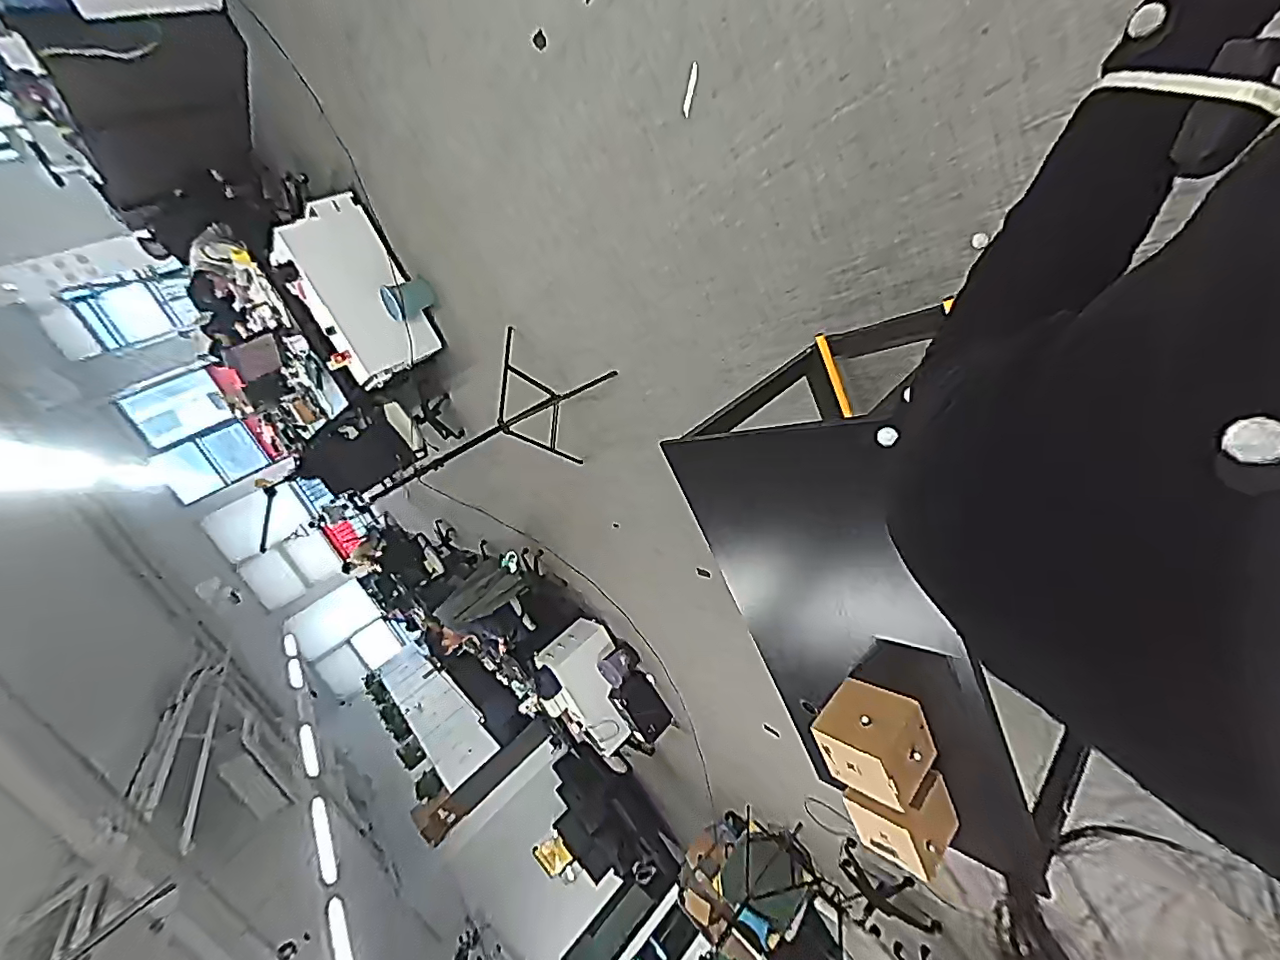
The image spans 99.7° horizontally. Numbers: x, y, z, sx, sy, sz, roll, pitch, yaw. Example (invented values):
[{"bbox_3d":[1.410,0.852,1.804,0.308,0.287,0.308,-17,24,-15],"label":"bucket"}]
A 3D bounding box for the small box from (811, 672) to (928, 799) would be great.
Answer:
[{"bbox_3d":[0.526,0.567,1.227,0.179,0.176,0.168,1,122,54],"label":"small box"}]

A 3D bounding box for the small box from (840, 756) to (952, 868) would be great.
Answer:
[{"bbox_3d":[0.621,0.766,1.302,0.168,0.176,0.179,0,121,55],"label":"small box"}]
